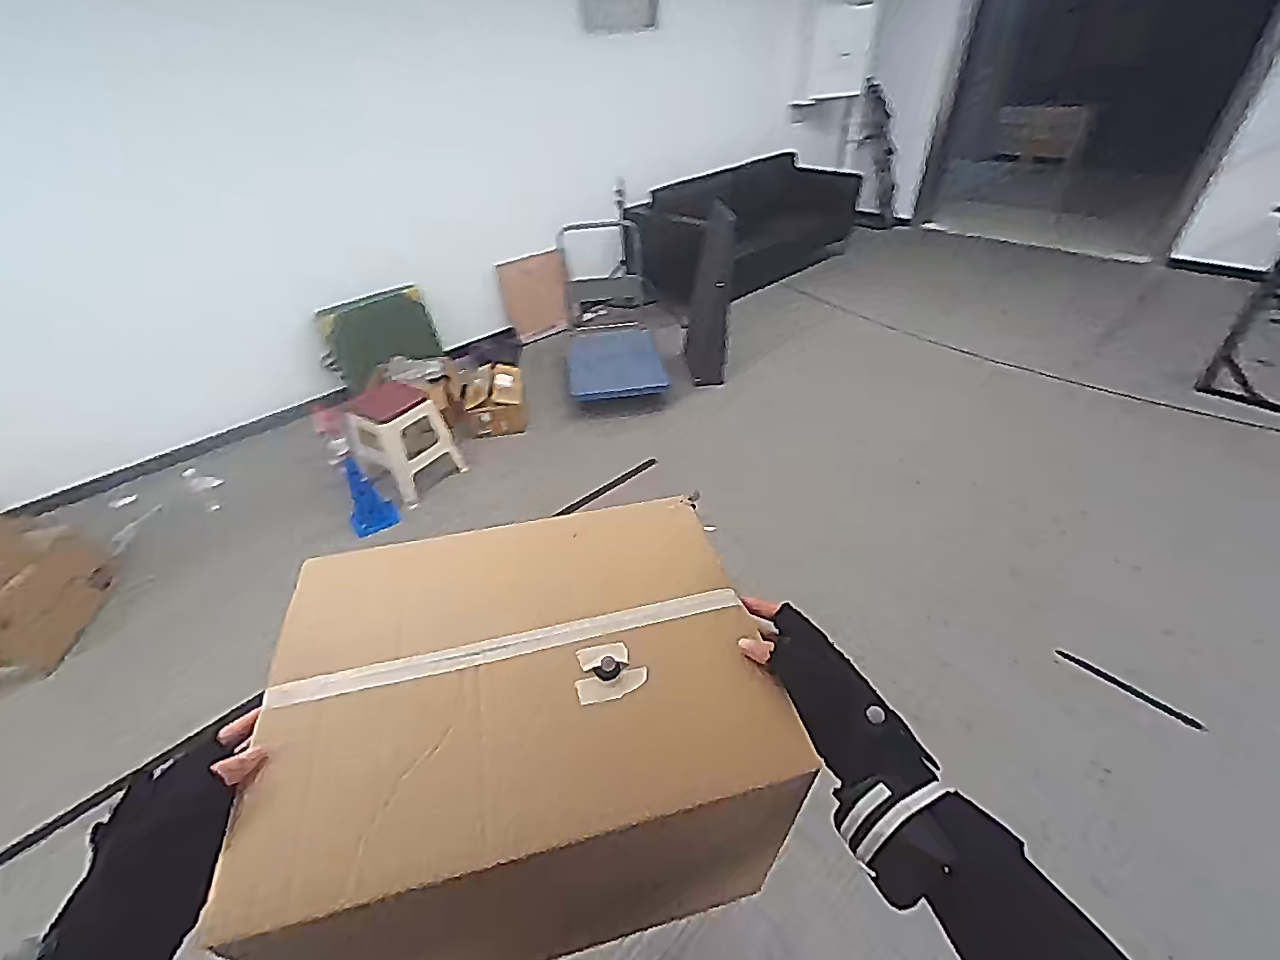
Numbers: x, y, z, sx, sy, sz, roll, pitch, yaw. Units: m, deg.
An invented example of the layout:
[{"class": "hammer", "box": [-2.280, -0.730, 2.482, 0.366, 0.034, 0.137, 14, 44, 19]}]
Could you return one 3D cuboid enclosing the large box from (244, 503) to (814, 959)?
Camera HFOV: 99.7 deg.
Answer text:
[{"class": "large box", "box": [-0.096, 0.266, 0.576, 0.408, 0.320, 0.320, -9, 41, -11]}]
